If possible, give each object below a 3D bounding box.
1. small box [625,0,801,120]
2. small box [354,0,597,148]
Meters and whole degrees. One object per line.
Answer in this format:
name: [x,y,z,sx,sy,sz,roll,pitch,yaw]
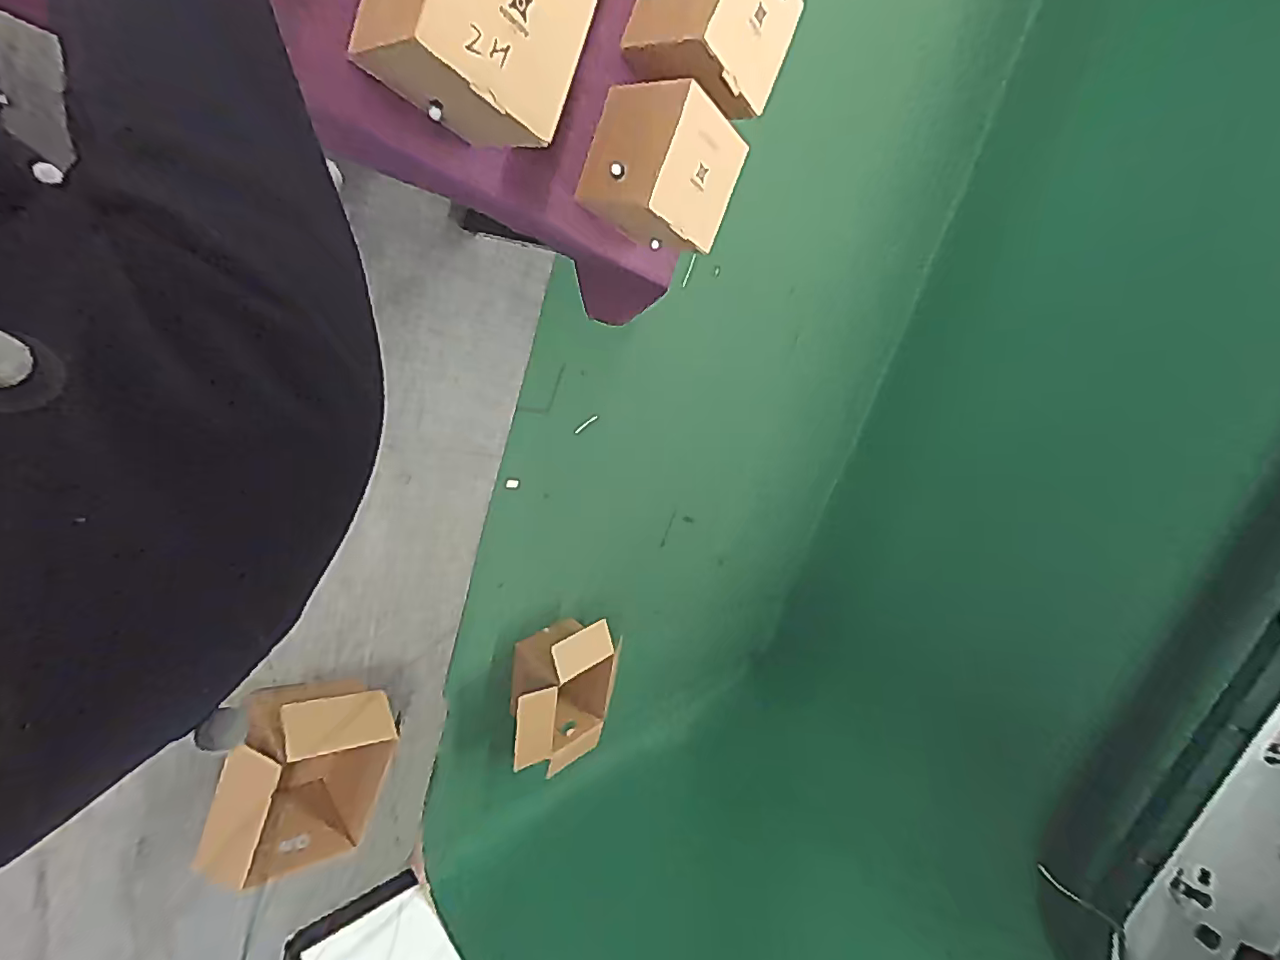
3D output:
small box: [0.103,-0.674,0.806,0.168,0.176,0.179,13,103,-52]
small box: [-0.181,-0.496,0.587,0.168,0.176,0.179,11,104,-51]
